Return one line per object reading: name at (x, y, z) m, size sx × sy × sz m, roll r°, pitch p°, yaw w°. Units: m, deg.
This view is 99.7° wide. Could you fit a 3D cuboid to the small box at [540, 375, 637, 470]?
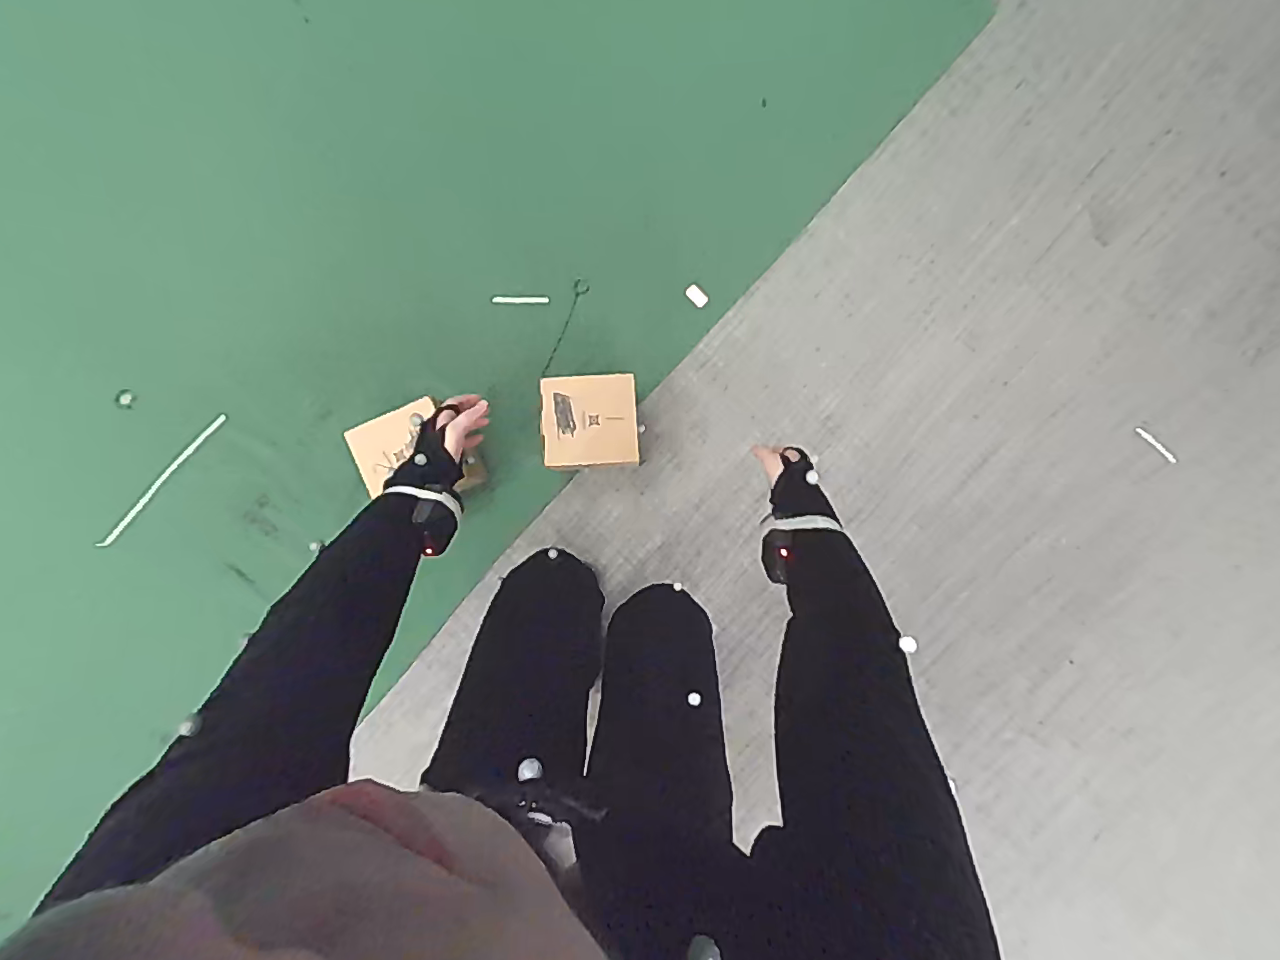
small box at (-0.097, -0.107, 1.076) m, size 0.179 × 0.176 × 0.168 m, roll -3°, pitch 89°, yaw -2°
